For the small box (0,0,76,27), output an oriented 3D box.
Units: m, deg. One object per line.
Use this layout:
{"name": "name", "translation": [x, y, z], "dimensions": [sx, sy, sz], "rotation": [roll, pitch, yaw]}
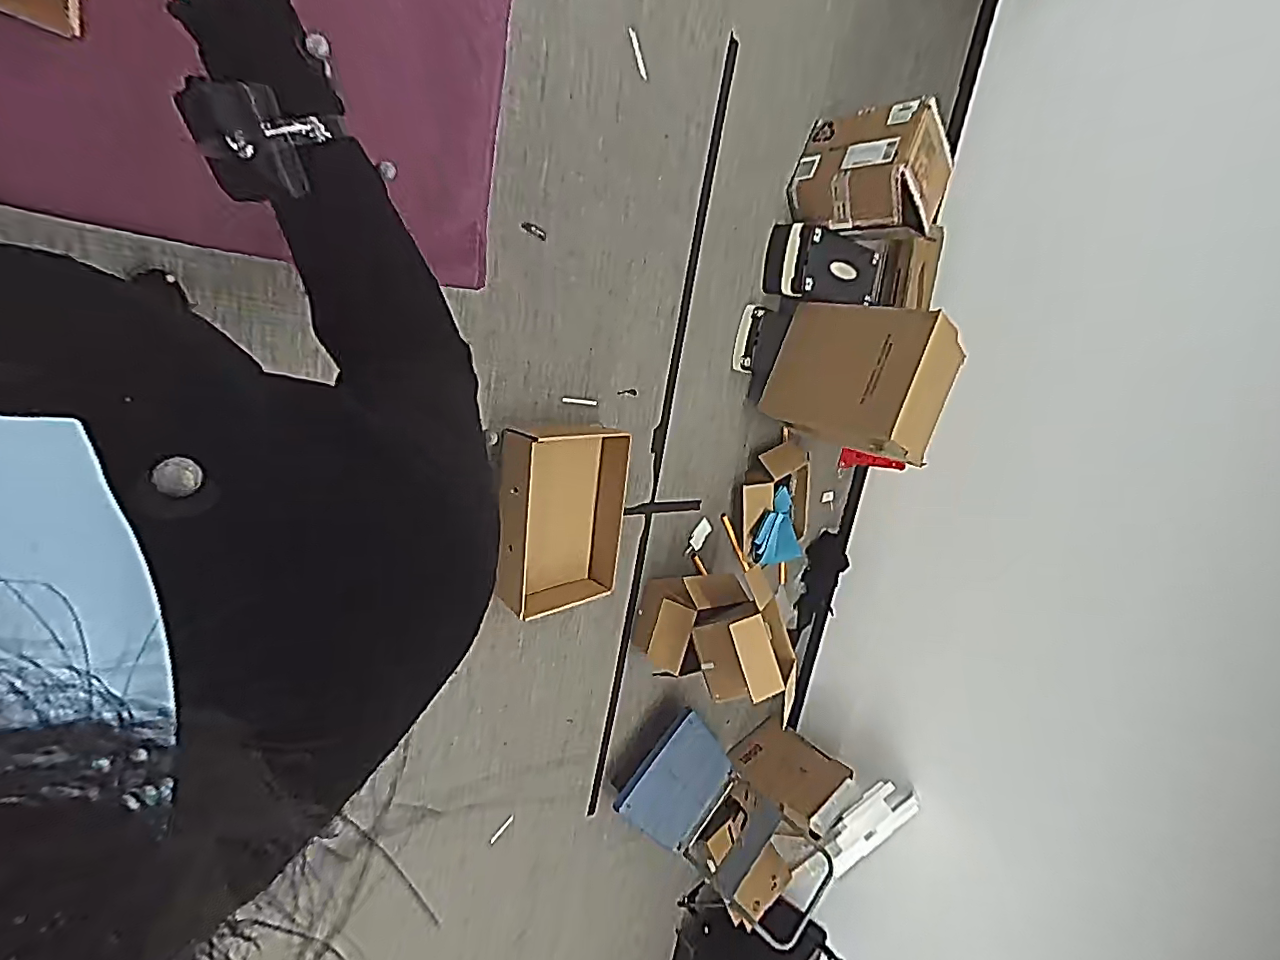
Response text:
{"name": "small box", "translation": [-0.492, -0.460, 0.356], "dimensions": [0.168, 0.176, 0.179], "rotation": [-1, 106, -45]}
